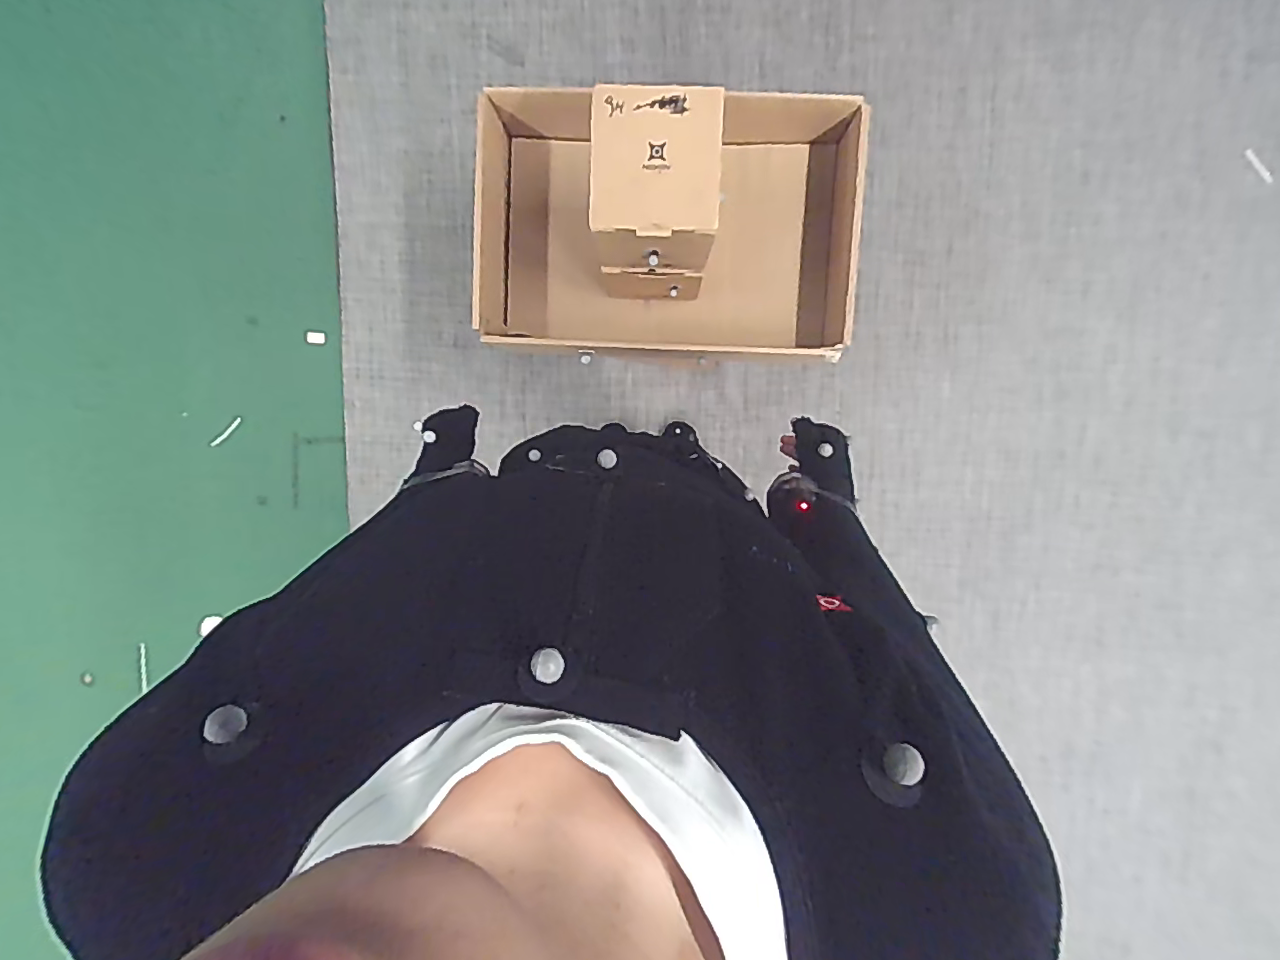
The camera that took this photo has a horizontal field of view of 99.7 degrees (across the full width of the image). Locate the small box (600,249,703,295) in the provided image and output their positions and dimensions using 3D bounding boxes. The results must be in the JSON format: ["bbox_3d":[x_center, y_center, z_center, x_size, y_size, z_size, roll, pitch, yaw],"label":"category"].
[{"bbox_3d":[0.024,-0.422,0.922,0.168,0.176,0.179,2,94,1],"label":"small box"}]

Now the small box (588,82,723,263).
[{"bbox_3d":[0.021,-0.414,0.758,0.168,0.176,0.179,2,97,1],"label":"small box"}]
